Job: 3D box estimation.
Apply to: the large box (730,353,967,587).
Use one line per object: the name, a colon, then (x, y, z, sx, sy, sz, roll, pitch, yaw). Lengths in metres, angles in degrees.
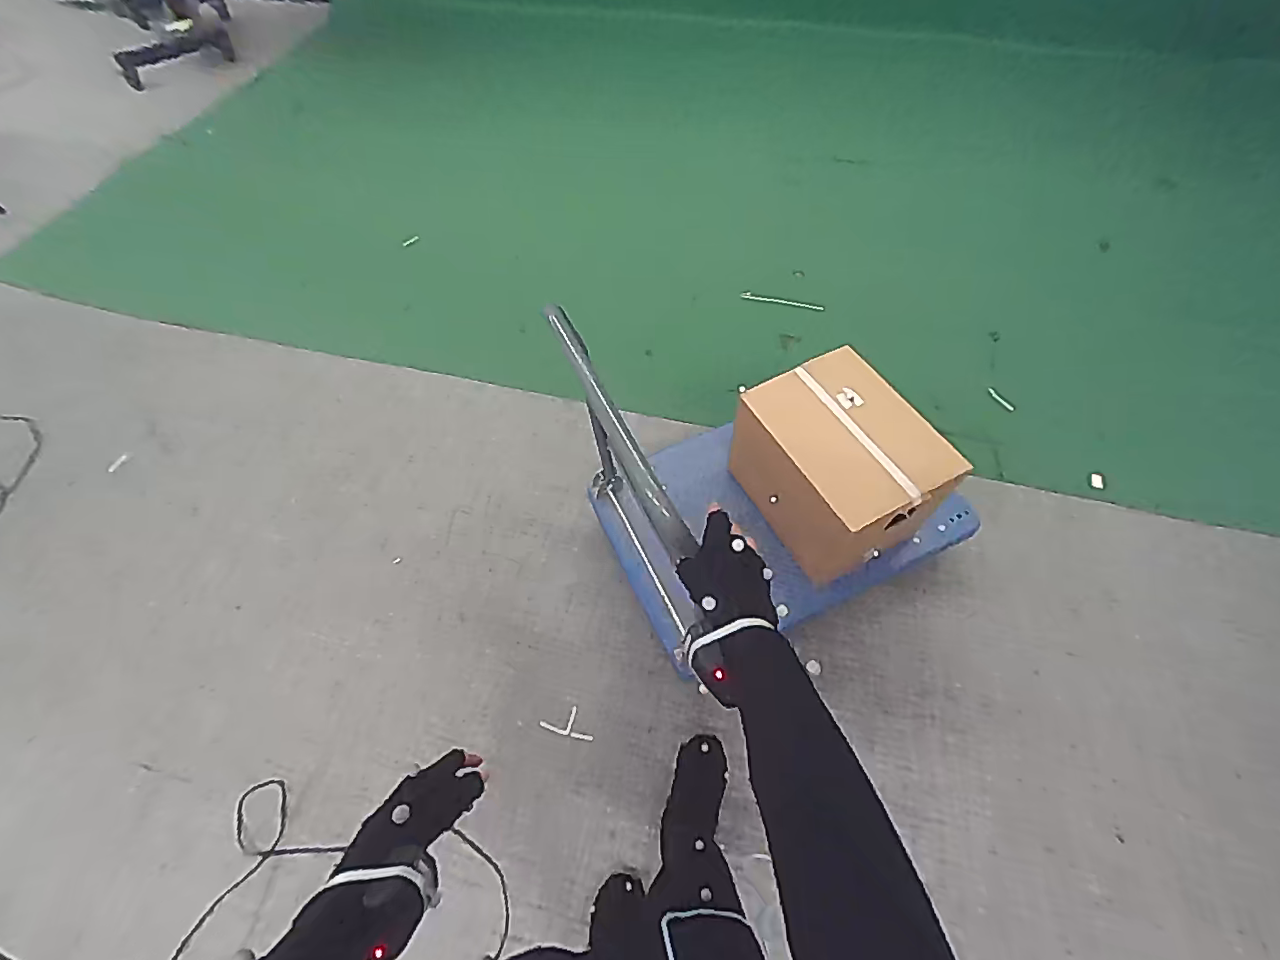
large box: (0.461, -0.023, 1.305, 0.320, 0.320, 0.408, -24, 59, -13)
